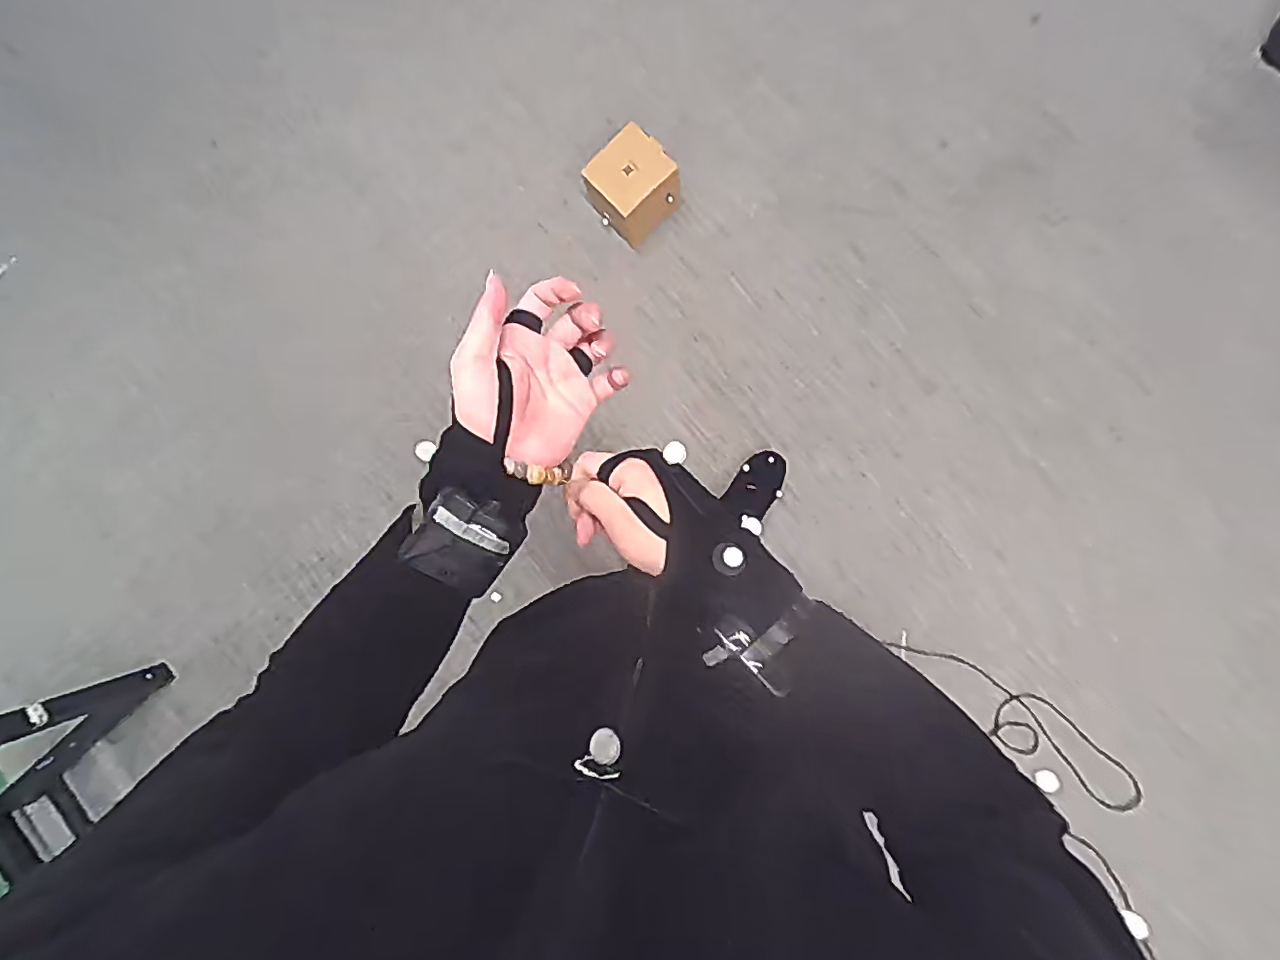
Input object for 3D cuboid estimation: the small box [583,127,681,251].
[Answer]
[{"bbox_3d":[-0.013,-0.722,1.360,0.179,0.176,0.168,-43,84,4],"label":"small box"}]
